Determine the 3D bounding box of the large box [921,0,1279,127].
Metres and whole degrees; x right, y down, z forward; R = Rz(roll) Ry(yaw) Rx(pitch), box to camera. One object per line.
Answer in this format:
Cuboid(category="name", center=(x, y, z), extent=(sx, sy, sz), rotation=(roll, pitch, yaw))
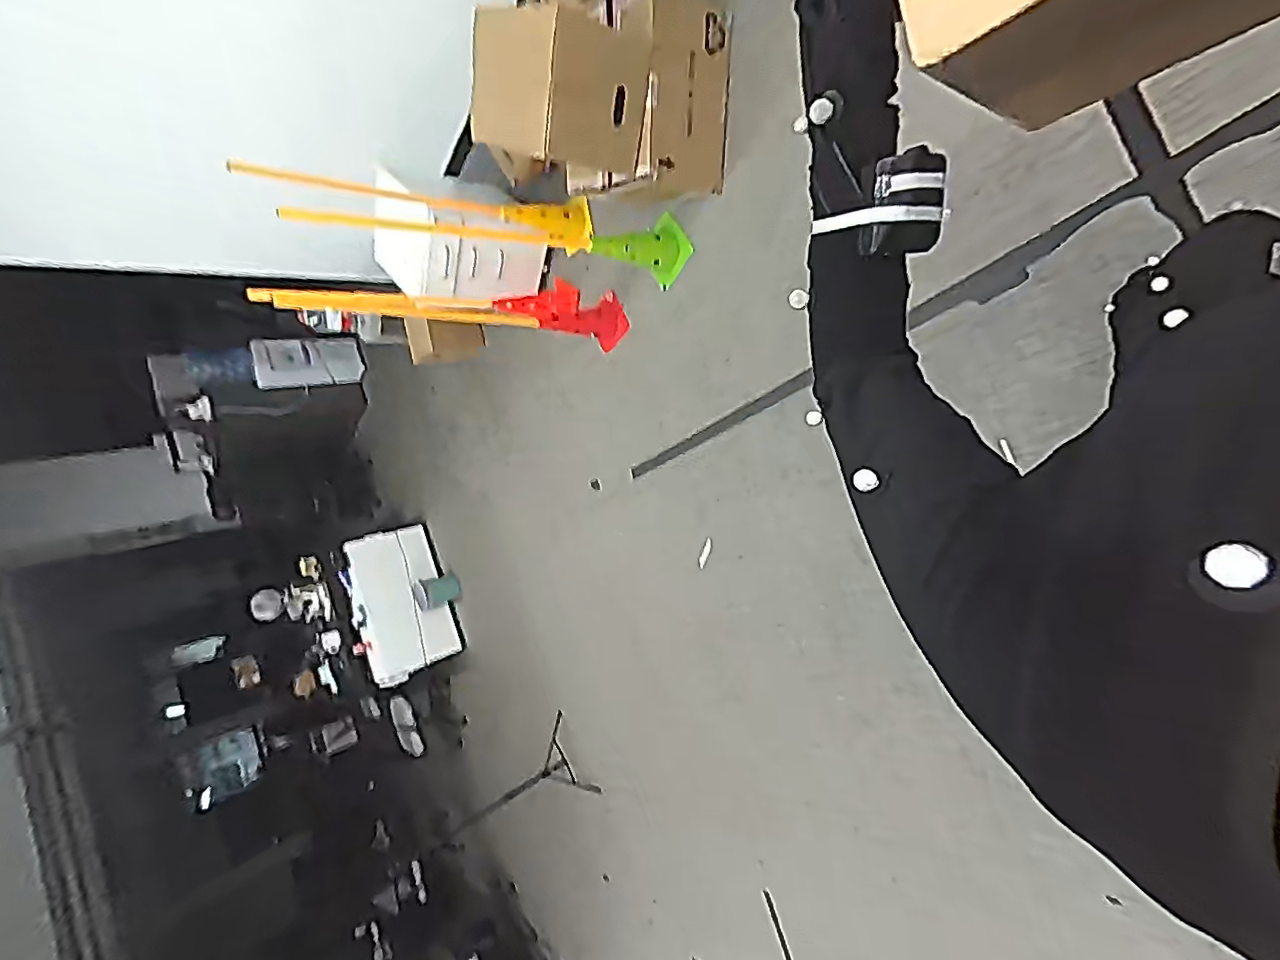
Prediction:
Cuboid(category="large box", center=(0.371, -0.463, 0.268), extent=(0.408, 0.320, 0.320), rotation=(-7, 102, 47))
